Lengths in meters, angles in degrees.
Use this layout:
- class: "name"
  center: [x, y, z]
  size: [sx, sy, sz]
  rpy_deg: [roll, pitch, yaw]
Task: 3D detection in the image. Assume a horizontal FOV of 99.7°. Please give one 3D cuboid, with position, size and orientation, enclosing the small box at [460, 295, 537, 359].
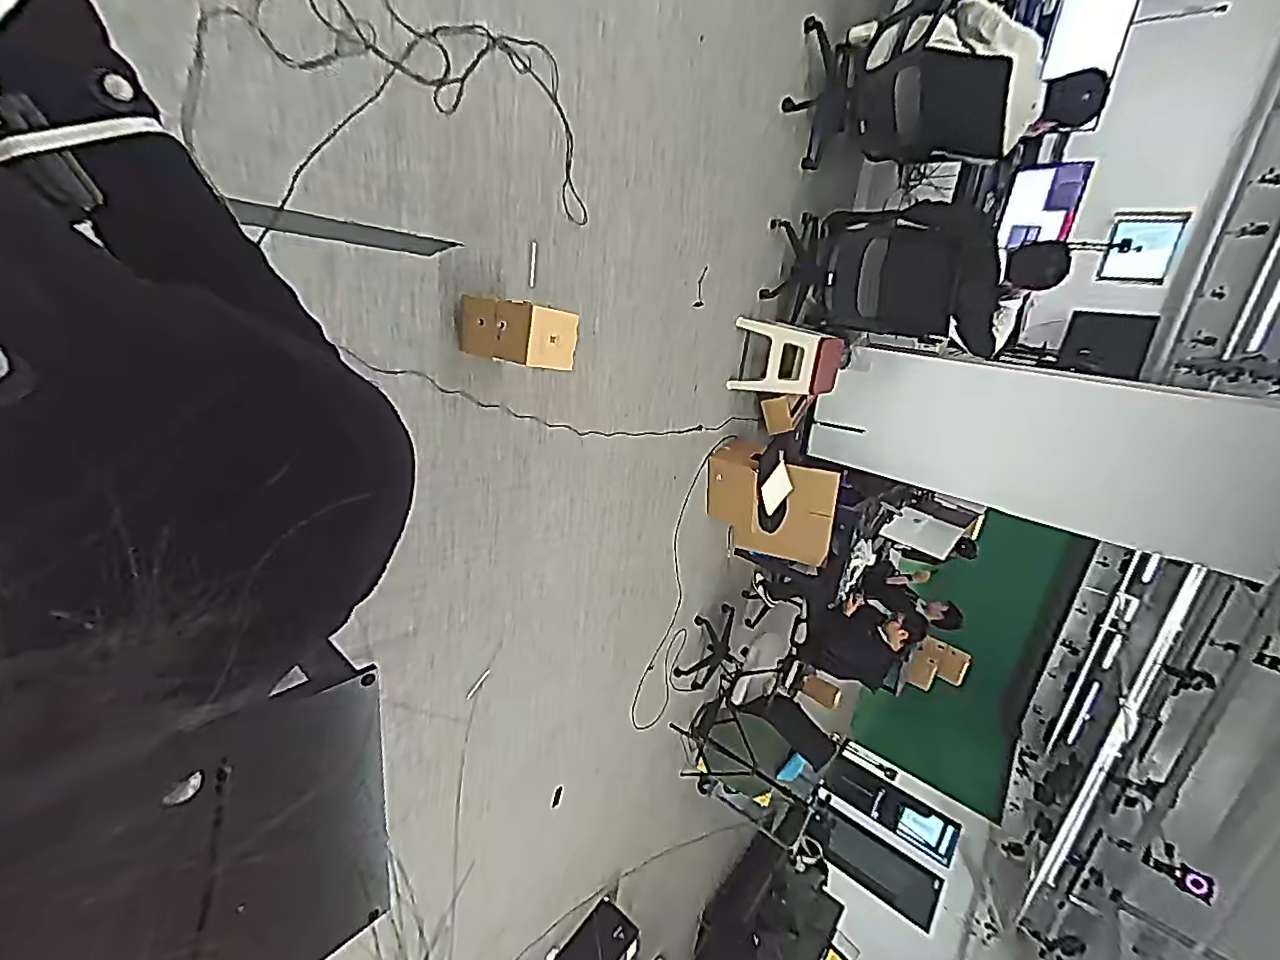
- class: "small box"
  center: [-0.439, -0.470, 1.668]
  size: [0.168, 0.176, 0.179]
  rpy_deg: [-14, 117, -49]

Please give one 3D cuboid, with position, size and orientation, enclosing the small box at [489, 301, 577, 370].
- class: "small box"
  center: [-0.313, -0.421, 1.576]
  size: [0.179, 0.176, 0.168]
  rpy_deg: [-8, 112, -50]
